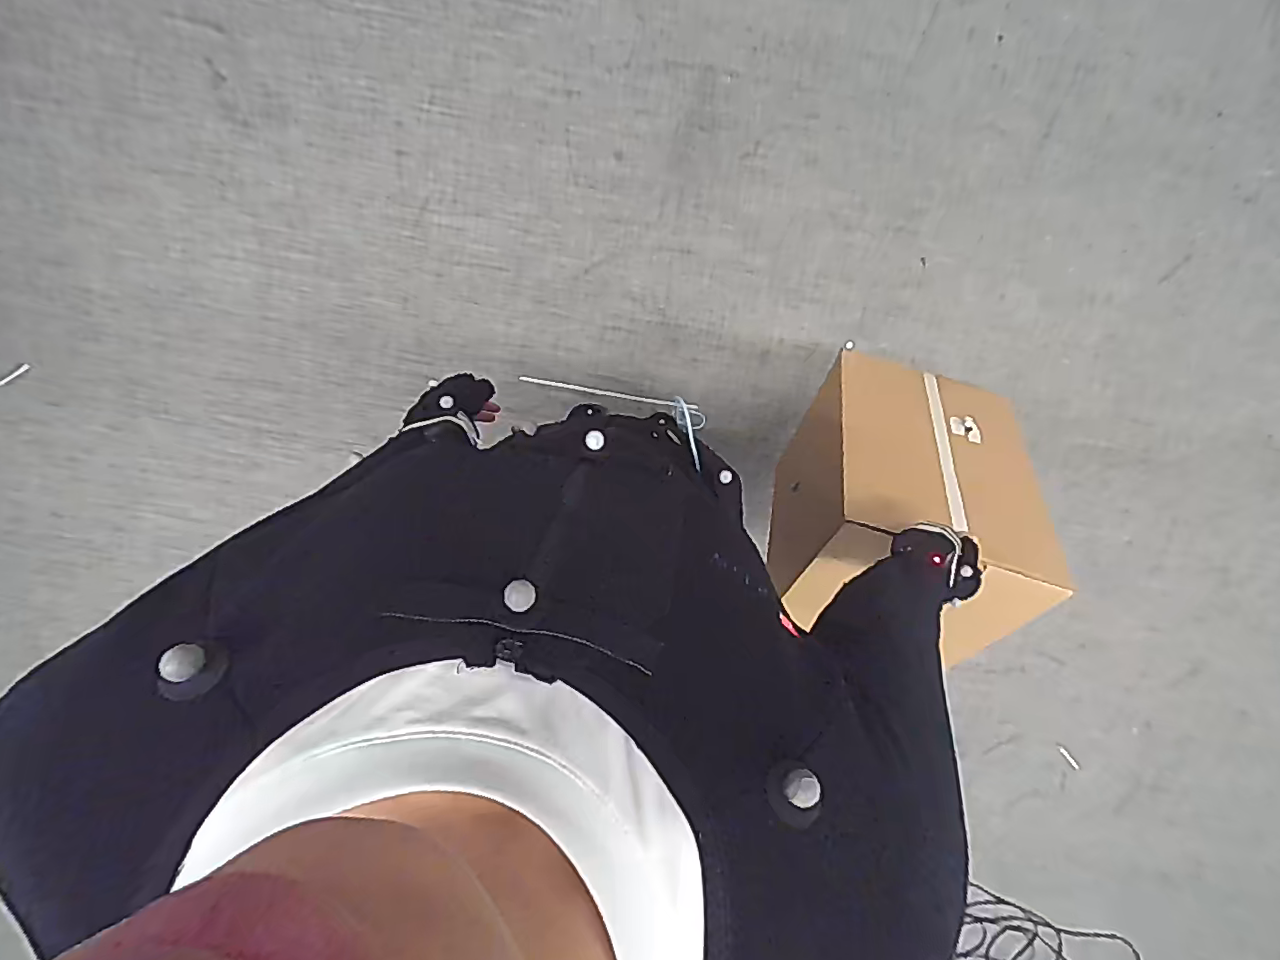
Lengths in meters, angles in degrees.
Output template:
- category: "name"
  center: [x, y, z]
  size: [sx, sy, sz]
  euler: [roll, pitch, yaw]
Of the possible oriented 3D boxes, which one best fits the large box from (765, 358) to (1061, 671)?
- category: "large box"
  center: [0.428, 0.058, 0.956]
  size: [0.320, 0.408, 0.320]
  euler: [18, 137, 1]
